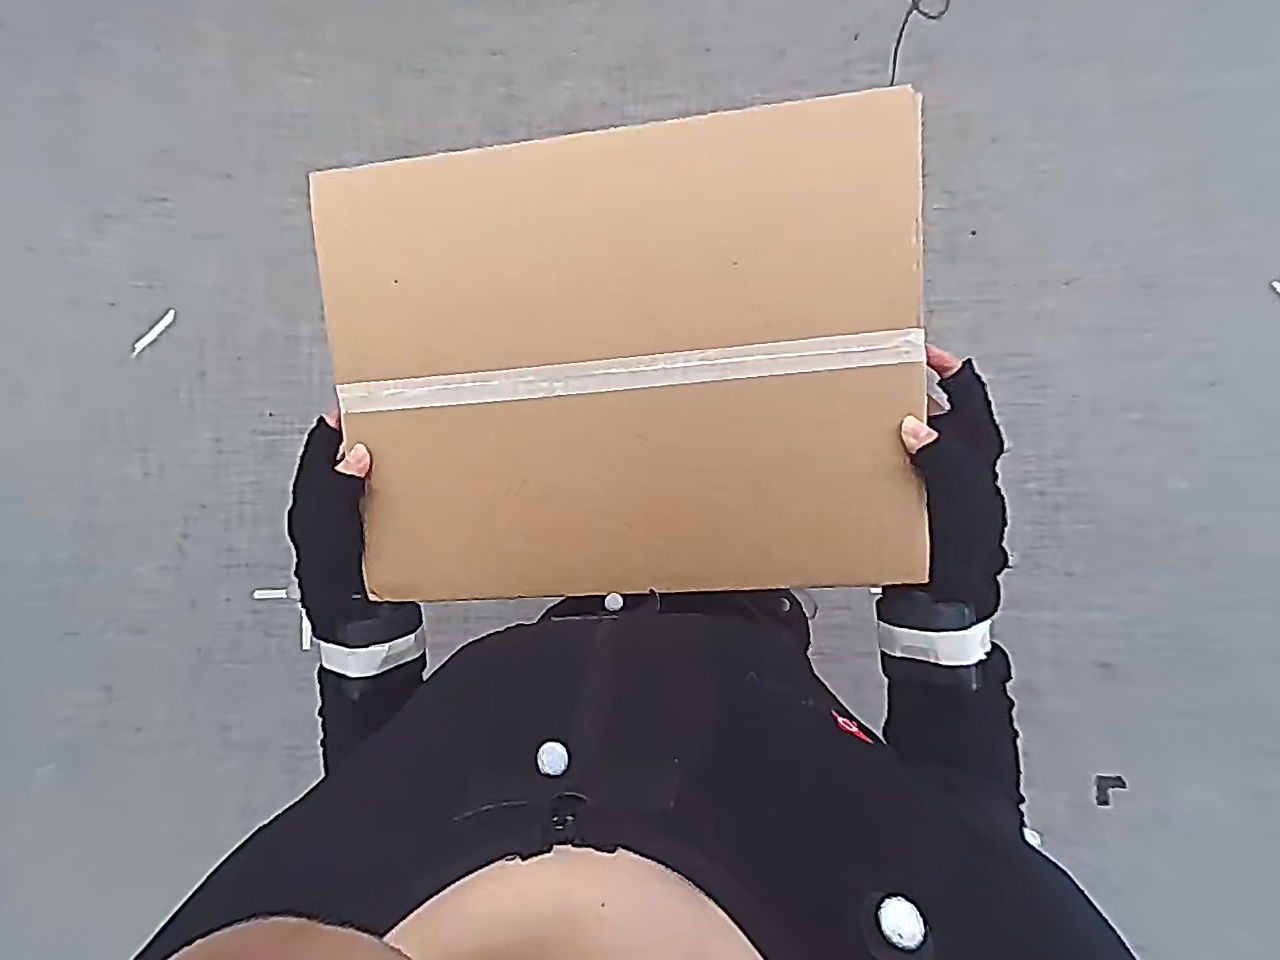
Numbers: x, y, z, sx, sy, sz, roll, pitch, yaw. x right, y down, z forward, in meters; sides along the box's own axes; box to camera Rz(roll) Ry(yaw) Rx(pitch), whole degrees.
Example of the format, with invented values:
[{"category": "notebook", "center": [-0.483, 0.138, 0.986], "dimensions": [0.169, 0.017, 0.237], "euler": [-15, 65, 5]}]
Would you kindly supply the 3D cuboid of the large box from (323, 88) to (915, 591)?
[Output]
[{"category": "large box", "center": [0.000, -0.099, 0.525], "dimensions": [0.408, 0.320, 0.320], "euler": [-4, 96, 8]}]
